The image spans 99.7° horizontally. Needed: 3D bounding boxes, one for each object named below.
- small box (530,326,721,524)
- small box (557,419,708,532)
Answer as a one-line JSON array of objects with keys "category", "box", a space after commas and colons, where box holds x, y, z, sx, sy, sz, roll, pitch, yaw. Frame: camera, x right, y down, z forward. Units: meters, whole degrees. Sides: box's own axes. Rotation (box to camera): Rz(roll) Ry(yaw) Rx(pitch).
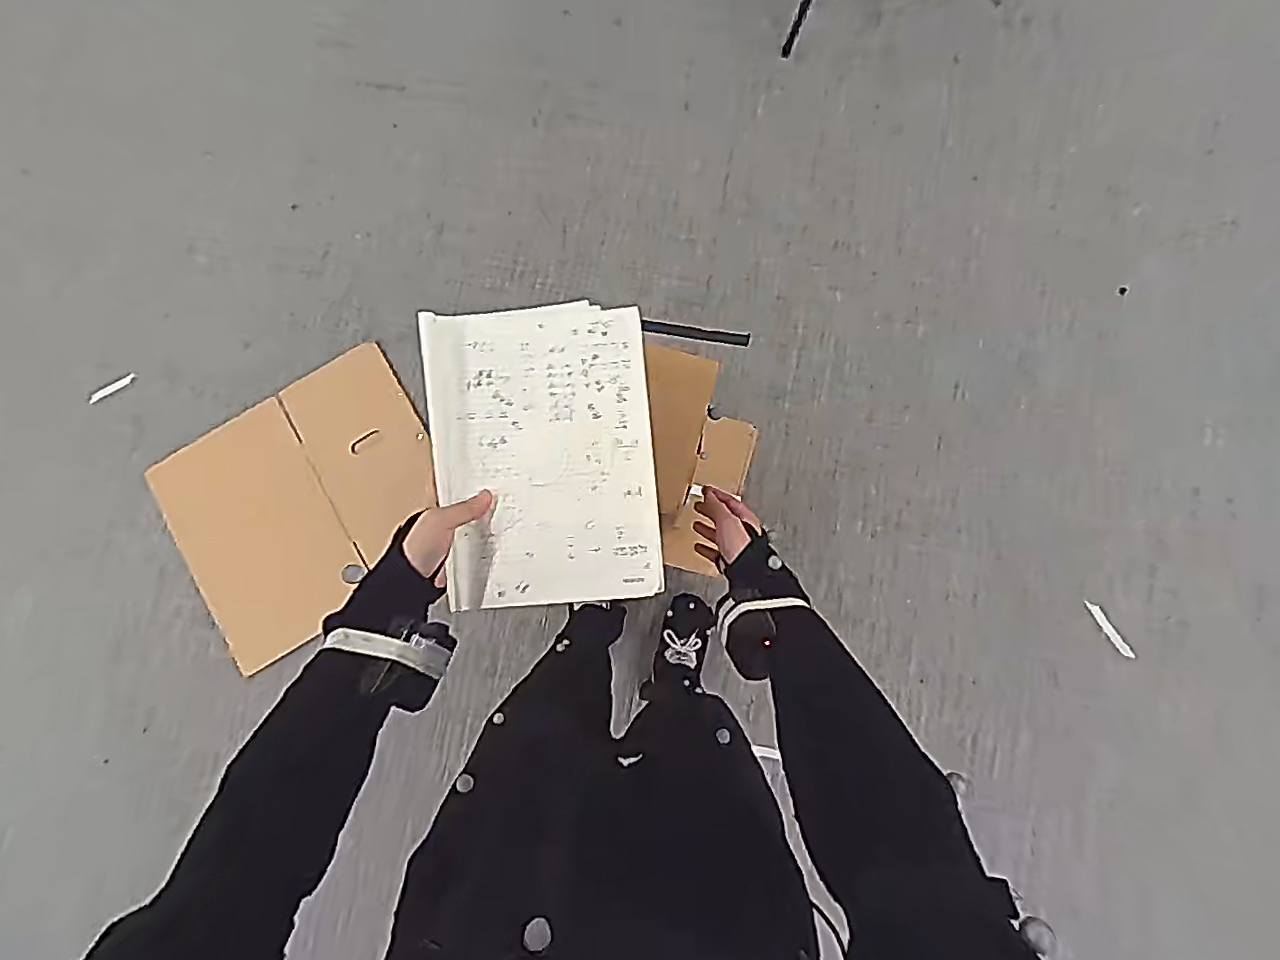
[{"category": "small box", "box": [-0.012, -0.053, 0.647, 0.168, 0.176, 0.179, 16, 84, 5]}, {"category": "small box", "box": [-0.006, -0.021, 0.809, 0.179, 0.176, 0.168, 14, 83, 5]}]
